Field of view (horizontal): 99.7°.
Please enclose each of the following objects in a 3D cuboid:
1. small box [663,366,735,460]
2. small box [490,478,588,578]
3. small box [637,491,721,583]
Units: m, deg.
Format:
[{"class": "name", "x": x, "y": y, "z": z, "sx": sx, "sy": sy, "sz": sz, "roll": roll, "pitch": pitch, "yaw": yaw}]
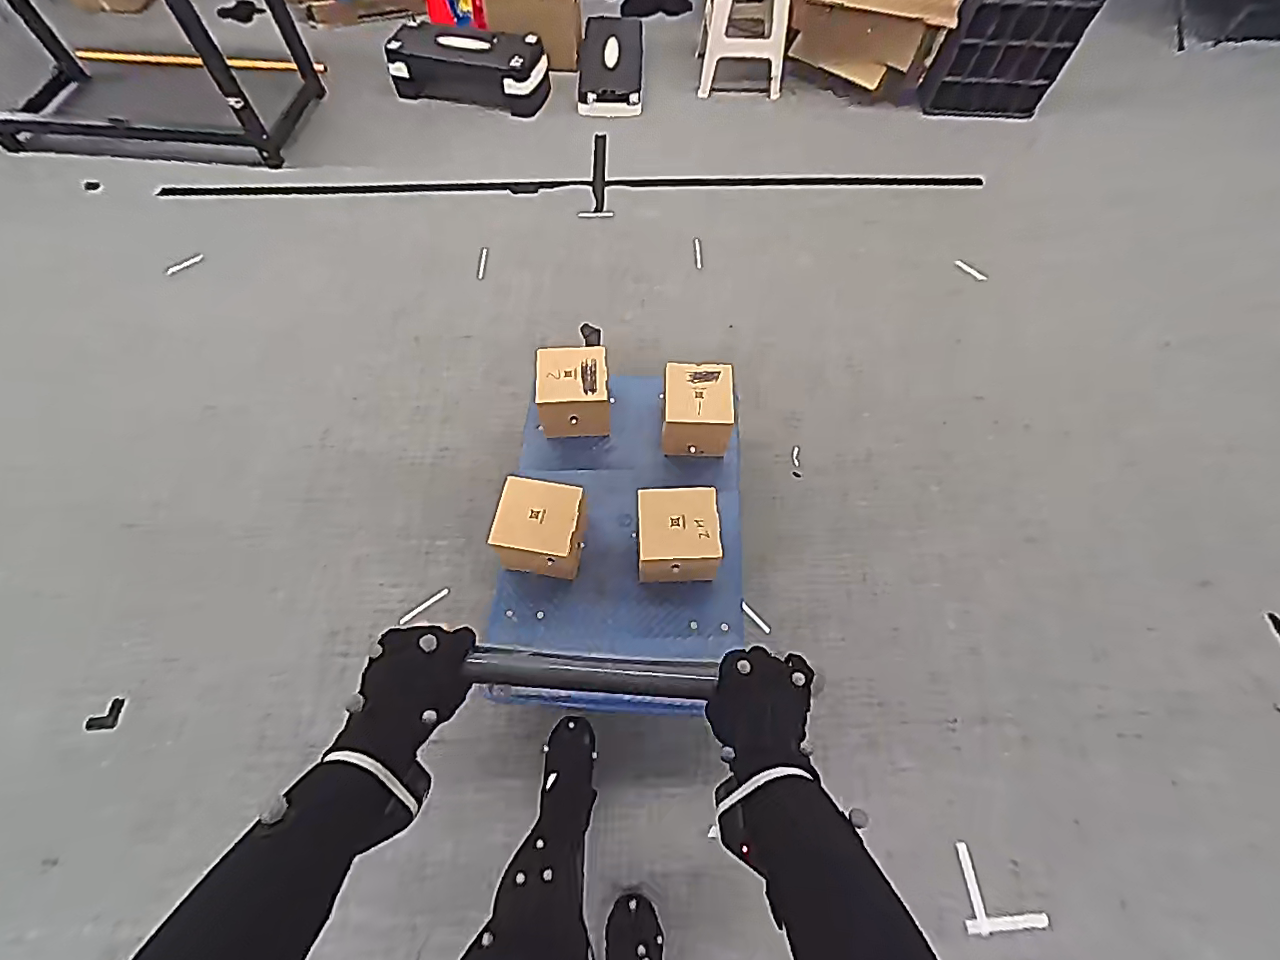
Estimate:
[{"class": "small box", "x": 0.147, "y": -0.169, "z": 1.389, "sx": 0.168, "sy": 0.176, "sz": 0.179, "roll": 3, "pitch": 65, "yaw": 1}, {"class": "small box", "x": -0.223, "y": 0.116, "z": 1.244, "sx": 0.179, "sy": 0.176, "sz": 0.168, "roll": 10, "pitch": 63, "yaw": 2}, {"class": "small box", "x": 0.083, "y": 0.135, "z": 1.238, "sx": 0.179, "sy": 0.176, "sz": 0.168, "roll": -1, "pitch": 64, "yaw": -1}]
